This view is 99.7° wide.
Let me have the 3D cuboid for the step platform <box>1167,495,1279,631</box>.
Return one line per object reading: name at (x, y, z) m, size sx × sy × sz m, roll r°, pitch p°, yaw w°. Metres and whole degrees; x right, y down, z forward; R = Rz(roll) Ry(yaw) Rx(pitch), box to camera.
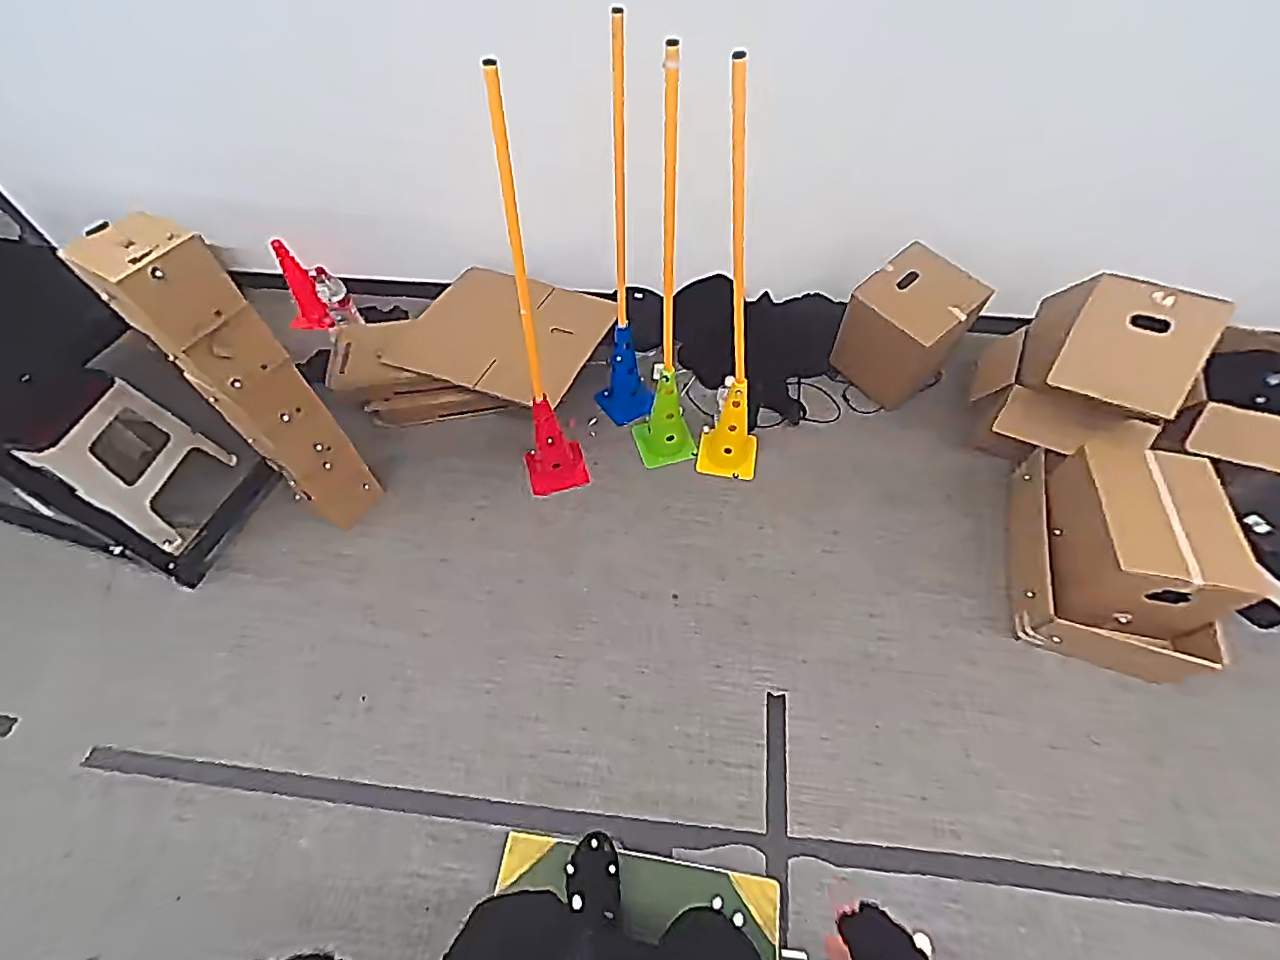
step platform at (1.987, 0.188, 1.608) m, size 0.684 × 0.204 × 0.286 m, roll -18°, pitch 57°, yaw -11°
